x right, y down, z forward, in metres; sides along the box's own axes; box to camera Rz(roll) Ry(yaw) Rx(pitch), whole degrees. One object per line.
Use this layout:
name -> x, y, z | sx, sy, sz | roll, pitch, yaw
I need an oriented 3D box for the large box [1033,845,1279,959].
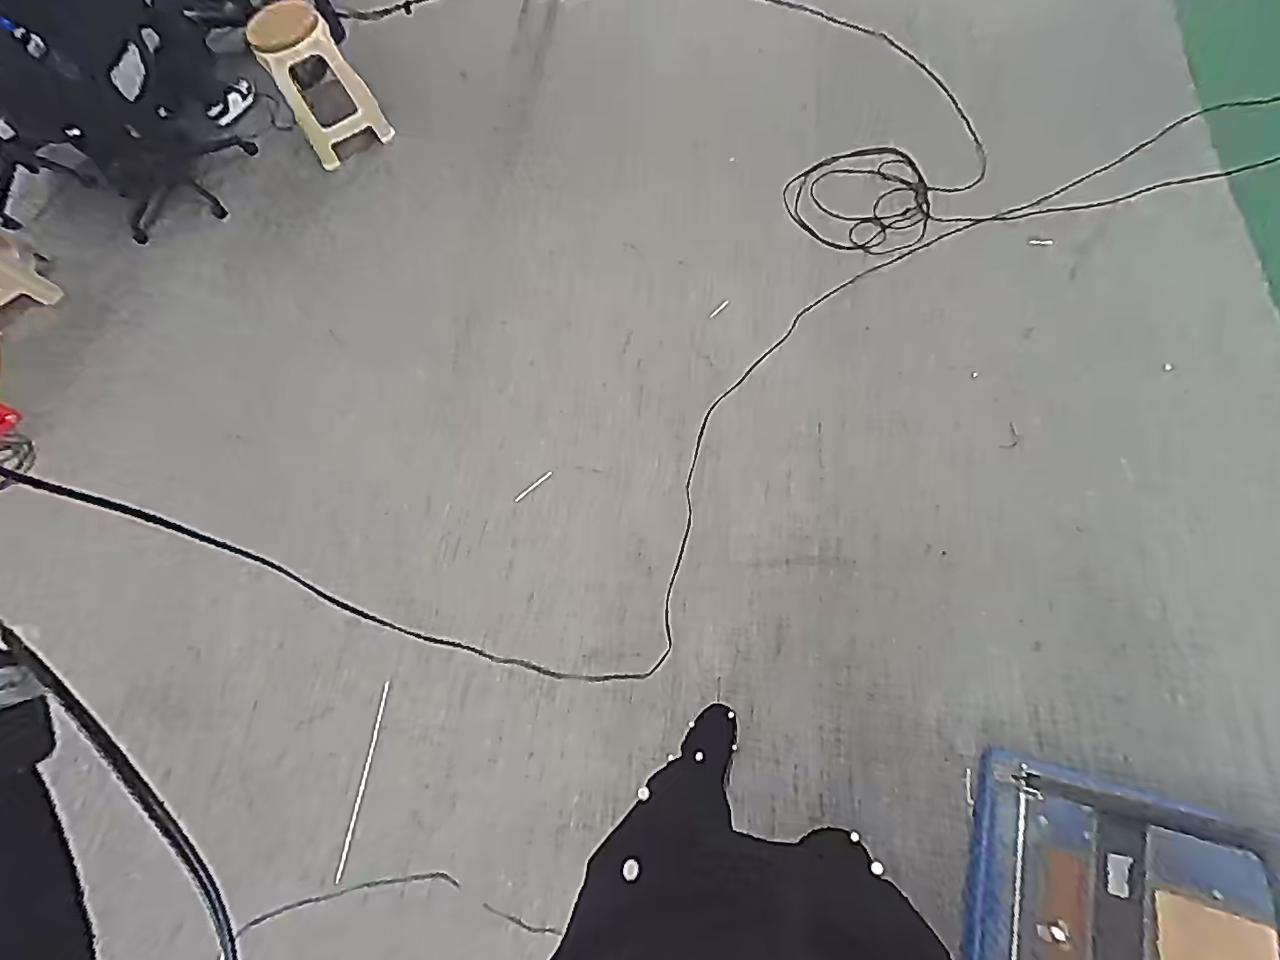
large box -> 0.920, 0.845, 0.855 | 0.408, 0.320, 0.320 | 13, 71, 12
